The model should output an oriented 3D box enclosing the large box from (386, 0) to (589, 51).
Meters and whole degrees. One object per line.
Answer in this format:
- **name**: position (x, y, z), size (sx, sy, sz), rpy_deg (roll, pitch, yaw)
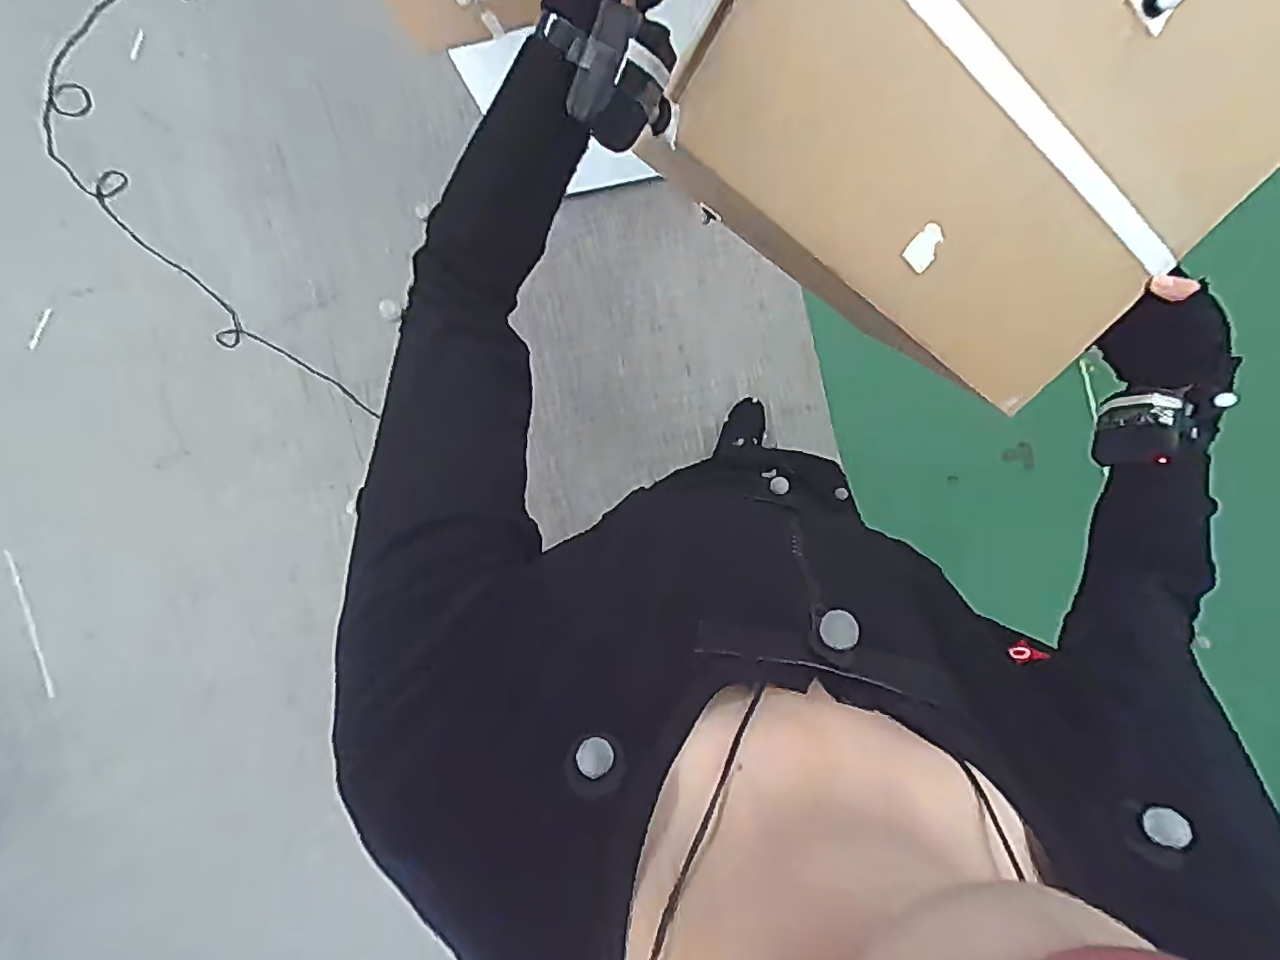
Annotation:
- **large box**: position (-0.278, -0.930, 0.744), size (0.320, 0.320, 0.408), rpy_deg (-10, 91, 4)
